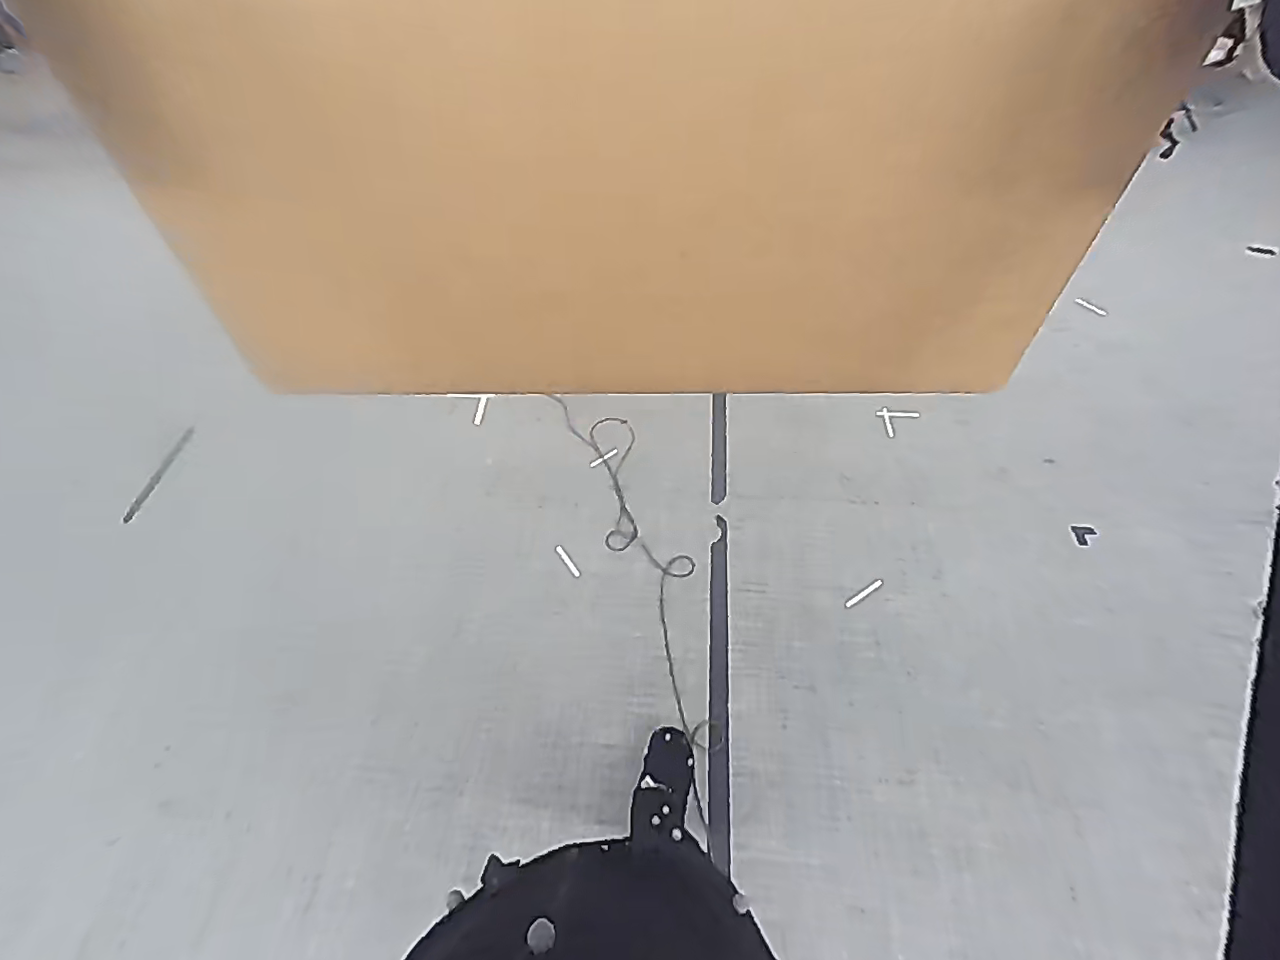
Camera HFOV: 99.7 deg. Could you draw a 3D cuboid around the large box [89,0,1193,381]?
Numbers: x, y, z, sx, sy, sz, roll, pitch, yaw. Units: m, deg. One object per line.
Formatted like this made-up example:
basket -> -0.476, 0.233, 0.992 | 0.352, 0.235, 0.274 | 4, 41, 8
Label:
large box -> 0.000, -0.267, 0.303 | 0.408, 0.320, 0.320 | 0, 48, -1
